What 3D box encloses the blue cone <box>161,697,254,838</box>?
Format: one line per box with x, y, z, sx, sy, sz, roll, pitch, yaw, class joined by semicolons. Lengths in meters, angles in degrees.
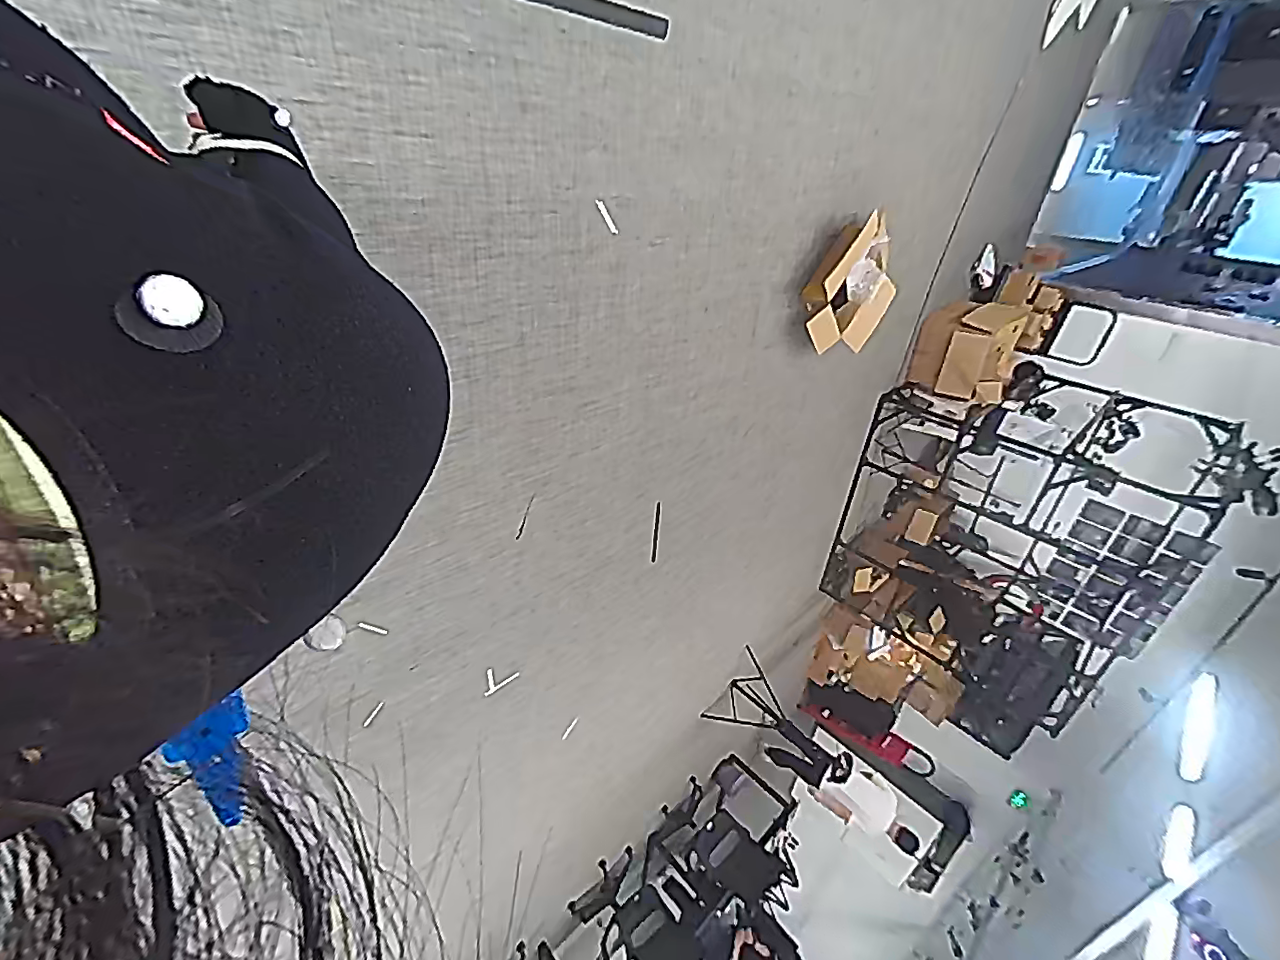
-1.114;0.795;1.446;0.193;0.380;0.192;-20;129;-40;blue cone
